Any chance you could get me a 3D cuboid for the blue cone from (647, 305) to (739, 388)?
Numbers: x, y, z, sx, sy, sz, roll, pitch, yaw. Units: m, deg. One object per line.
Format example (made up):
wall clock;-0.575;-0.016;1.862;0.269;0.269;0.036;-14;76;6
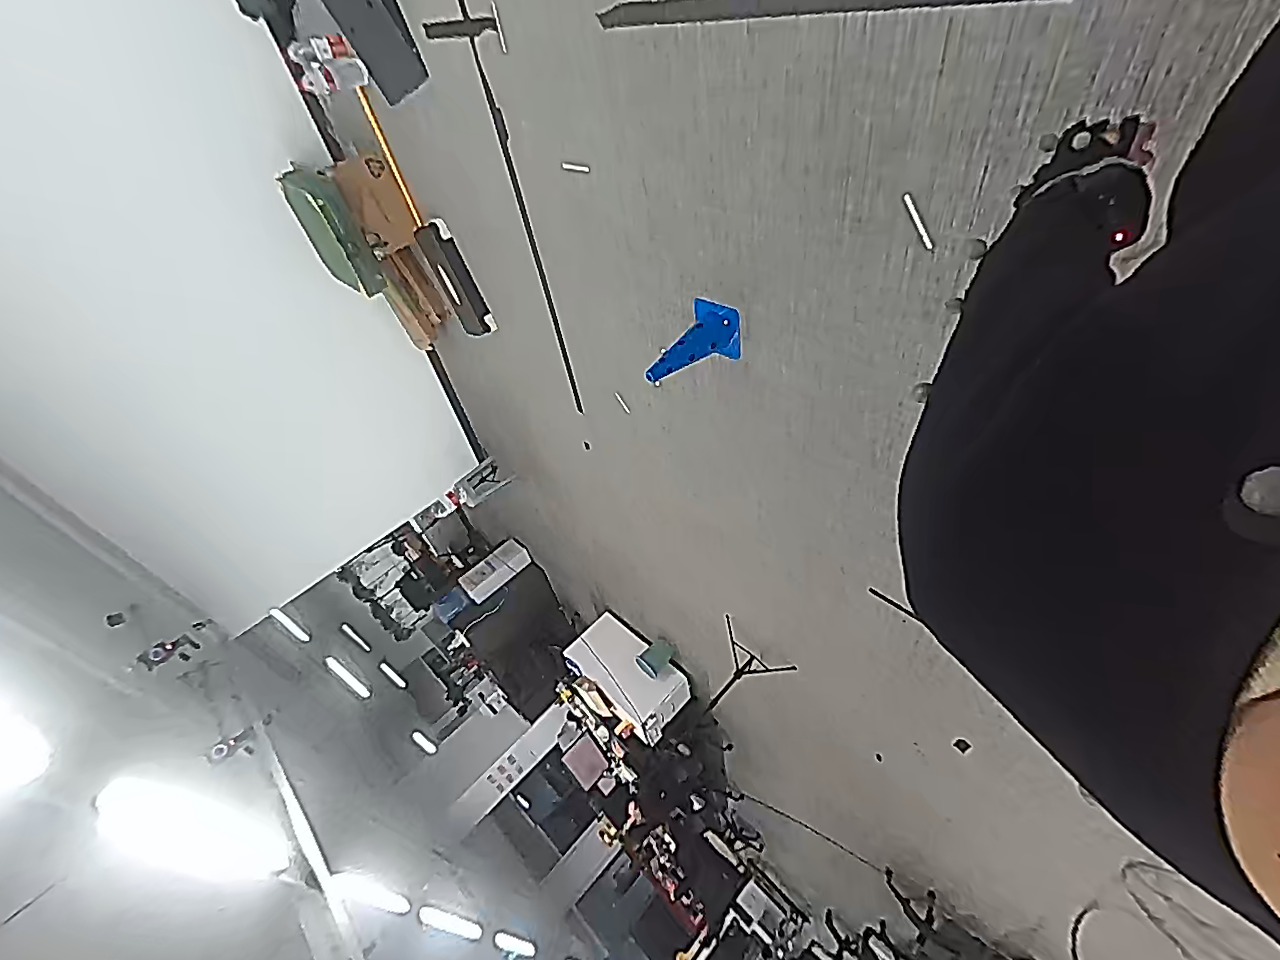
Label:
blue cone;0.162;-0.439;1.878;0.193;0.380;0.192;32;150;35
